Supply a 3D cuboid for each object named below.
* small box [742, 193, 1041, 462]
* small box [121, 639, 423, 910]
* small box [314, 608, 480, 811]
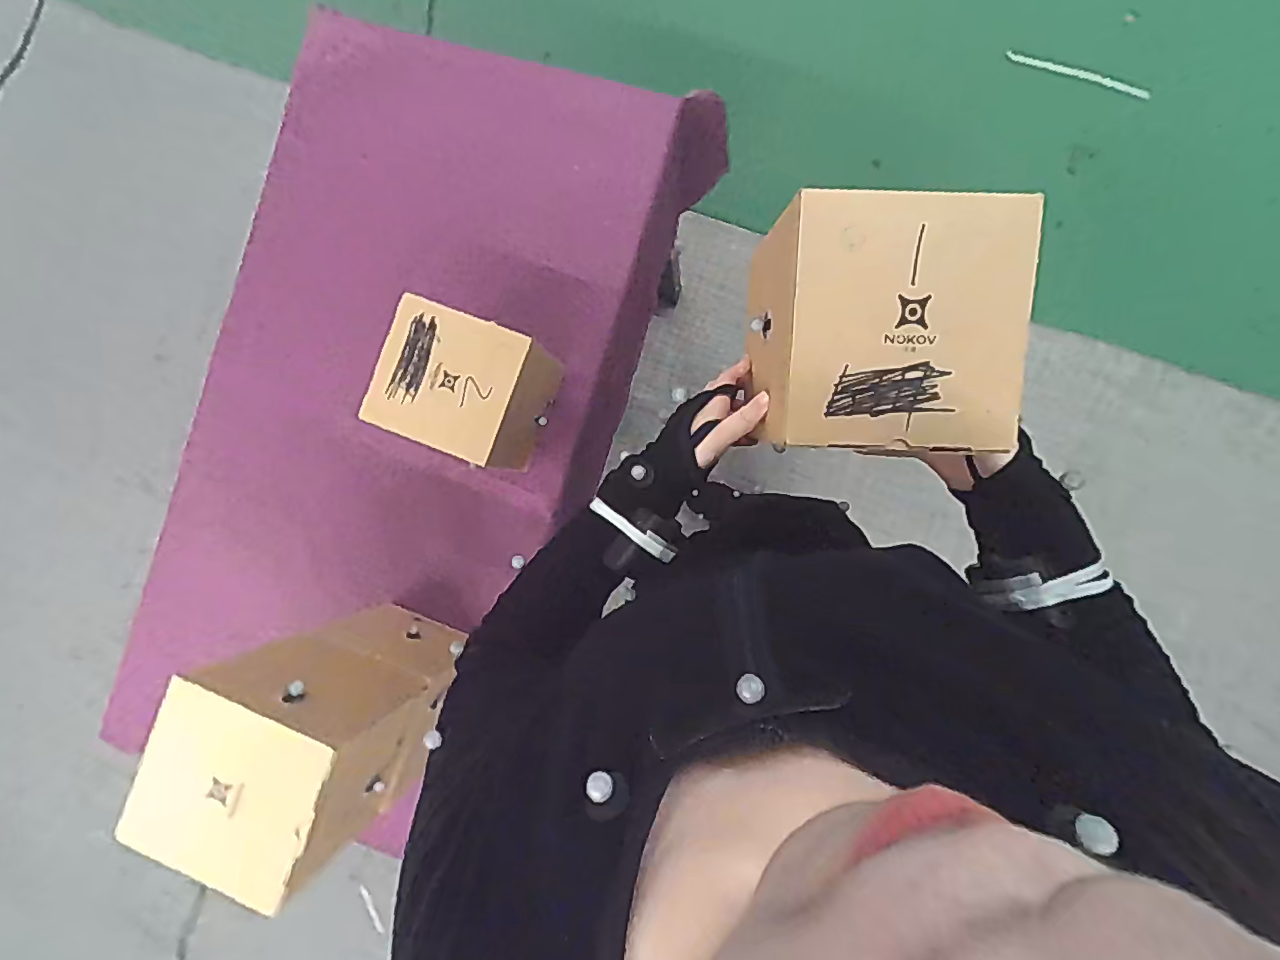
[{"bbox_3d":[0.183,-0.114,0.450,0.168,0.176,0.179,2,98,1],"label":"small box"},{"bbox_3d":[-0.370,0.287,0.576,0.179,0.176,0.168,20,91,6],"label":"small box"},{"bbox_3d":[-0.341,0.292,0.737,0.168,0.176,0.179,20,91,7],"label":"small box"}]
